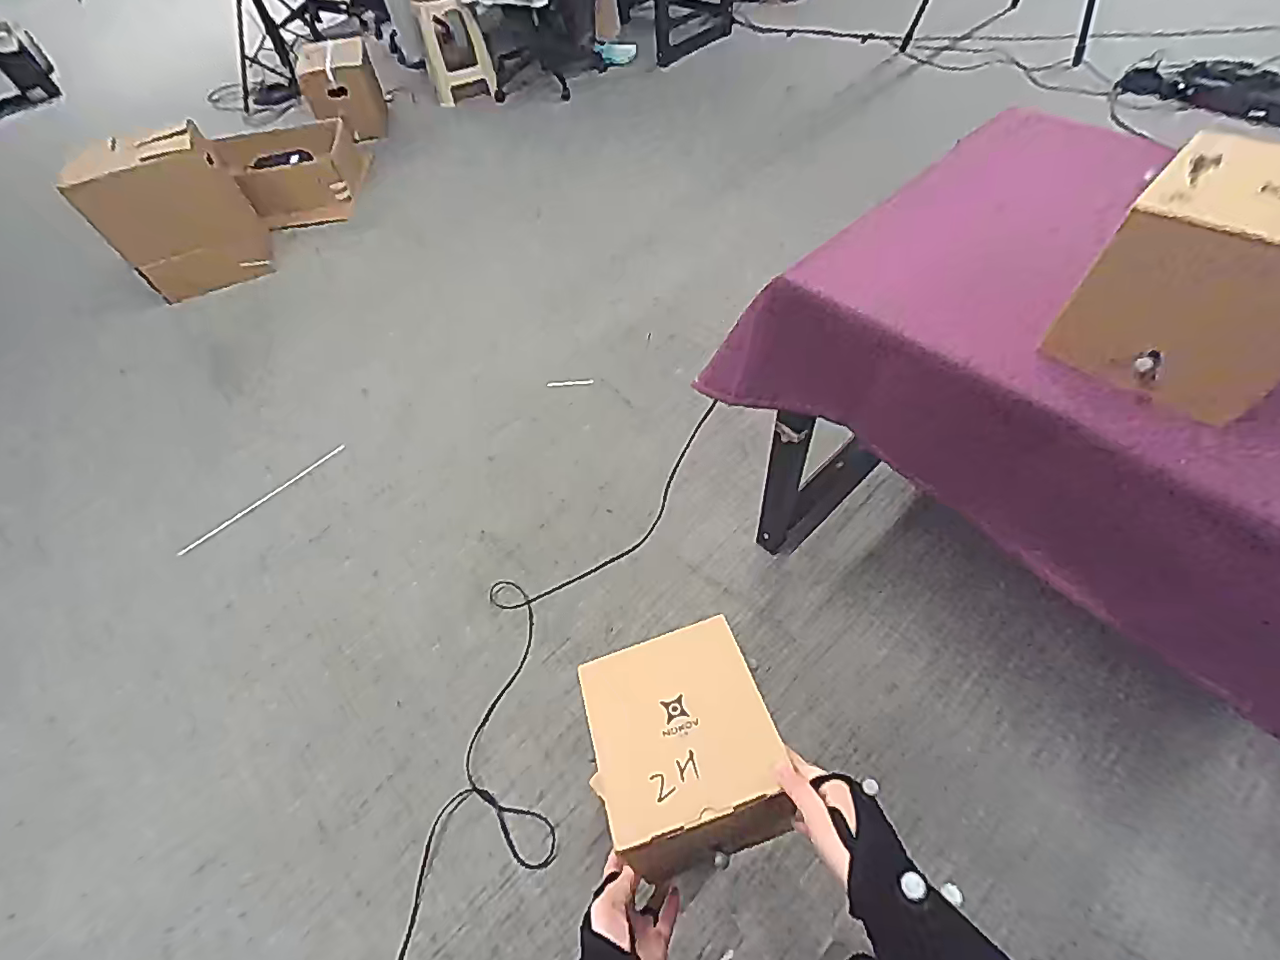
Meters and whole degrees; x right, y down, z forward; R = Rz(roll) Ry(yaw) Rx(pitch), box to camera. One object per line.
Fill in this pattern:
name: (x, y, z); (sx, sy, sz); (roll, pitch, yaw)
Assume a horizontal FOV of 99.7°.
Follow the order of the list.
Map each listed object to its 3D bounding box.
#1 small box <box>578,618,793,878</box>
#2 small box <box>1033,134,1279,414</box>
small box: (0.047, 0.284, 0.575); (0.168, 0.176, 0.179); (-19, 46, -4)
small box: (0.539, -0.189, 0.521); (0.168, 0.176, 0.179); (-41, 62, -21)
